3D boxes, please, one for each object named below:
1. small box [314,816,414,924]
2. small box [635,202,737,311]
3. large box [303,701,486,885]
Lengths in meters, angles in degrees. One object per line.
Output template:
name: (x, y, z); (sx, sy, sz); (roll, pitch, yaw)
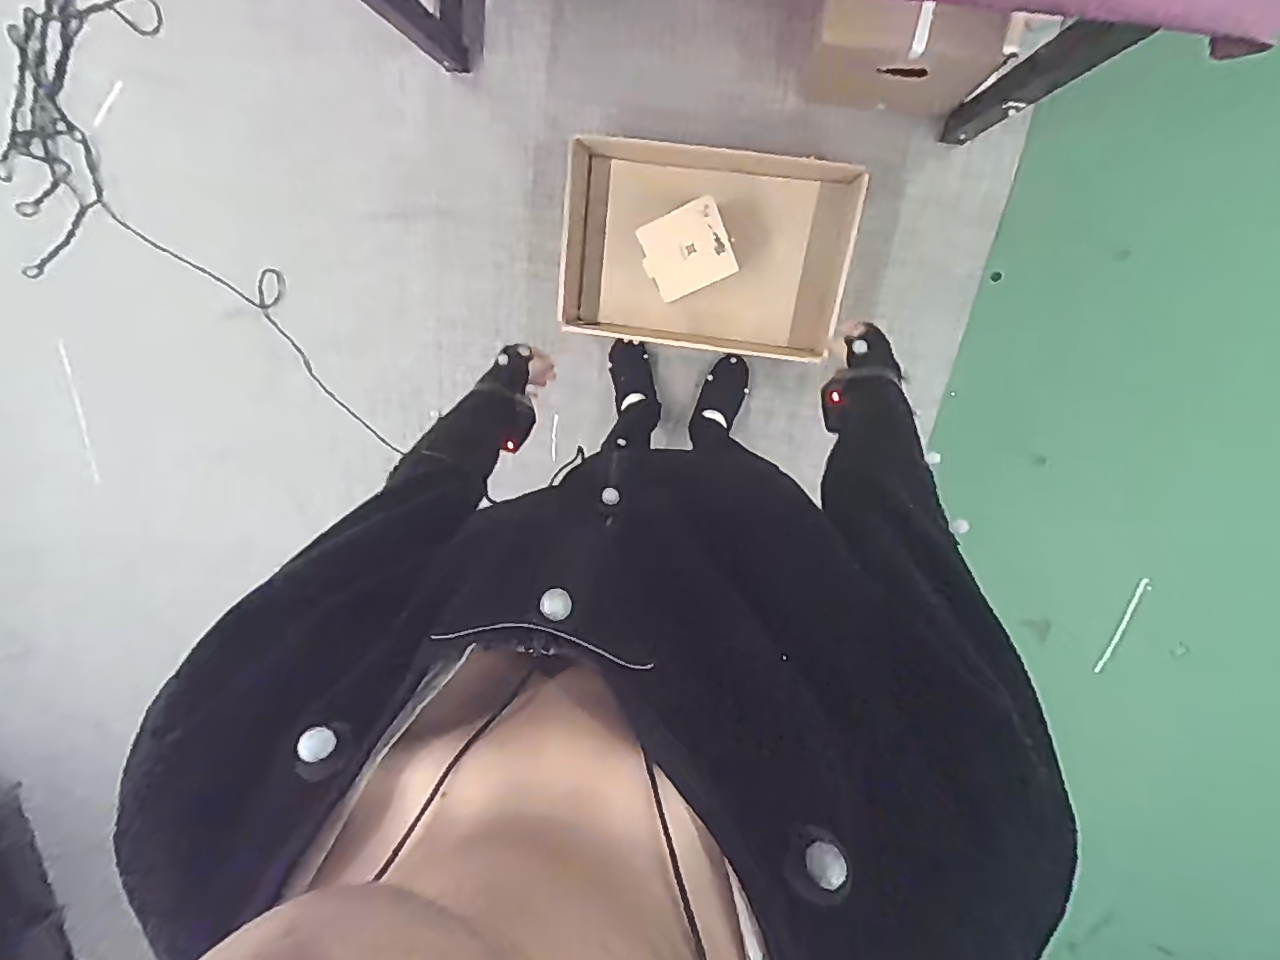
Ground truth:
small box: (-0.814, 1.157, 1.613); (0.168, 0.176, 0.179); (41, 110, -7)
small box: (0.108, -0.489, 1.208); (0.179, 0.176, 0.168); (-20, 105, 14)
large box: (-0.812, 1.047, 1.834); (0.408, 0.320, 0.320); (38, 109, -4)
